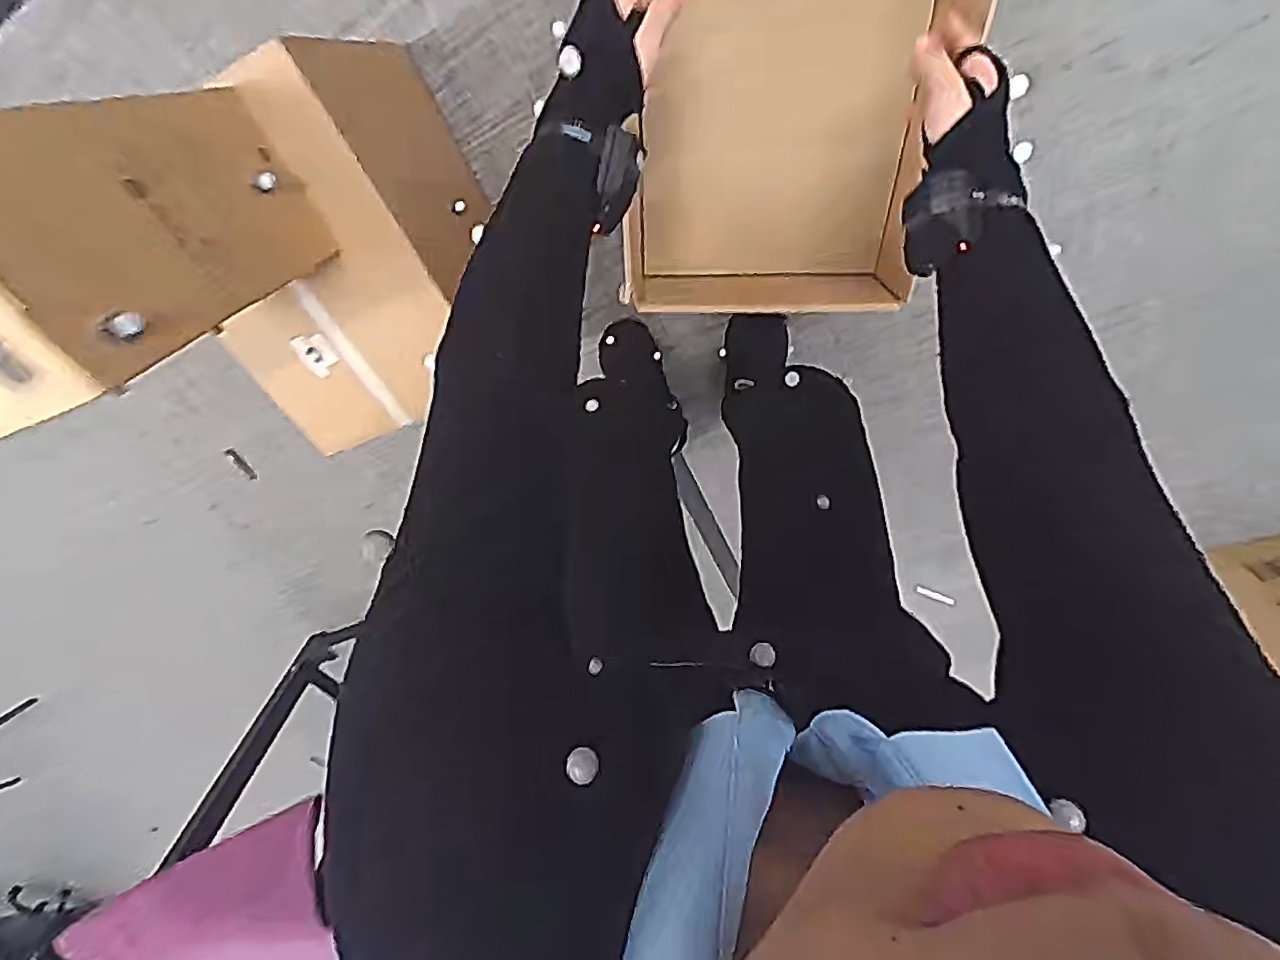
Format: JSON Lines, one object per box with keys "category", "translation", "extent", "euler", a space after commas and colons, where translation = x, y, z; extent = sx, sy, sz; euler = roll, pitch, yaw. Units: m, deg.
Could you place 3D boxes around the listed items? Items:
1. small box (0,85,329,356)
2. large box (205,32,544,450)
{"category": "small box", "translation": [-0.451, -0.250, 0.521], "extent": [0.179, 0.176, 0.168], "euler": [-15, 127, 15]}
{"category": "large box", "translation": [-0.389, -0.324, 0.772], "extent": [0.320, 0.320, 0.408], "euler": [-17, 125, 18]}
